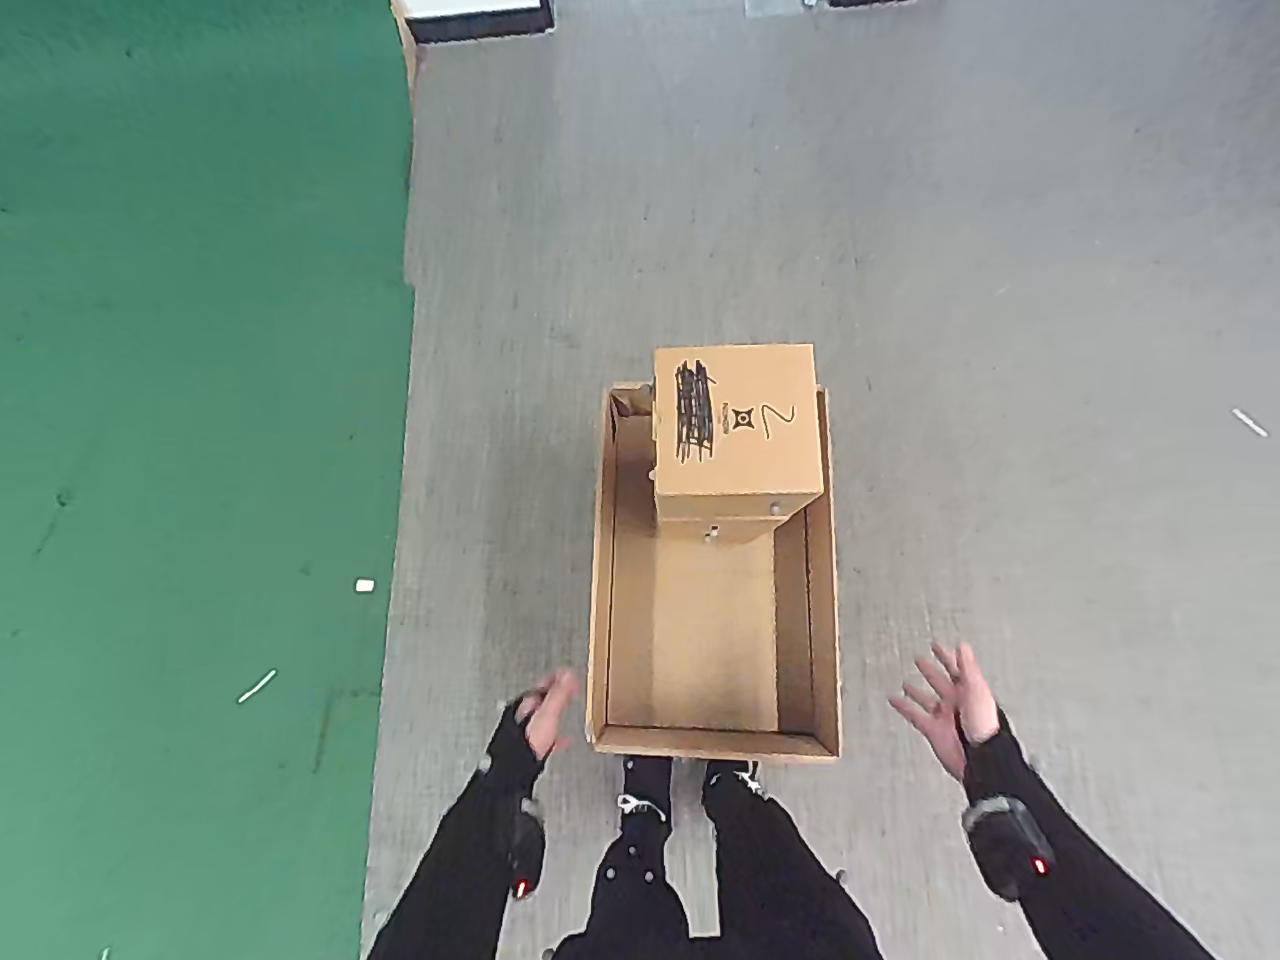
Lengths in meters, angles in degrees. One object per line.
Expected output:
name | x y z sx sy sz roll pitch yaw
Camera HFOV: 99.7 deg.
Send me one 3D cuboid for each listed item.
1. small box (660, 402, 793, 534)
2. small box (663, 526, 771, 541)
small box | 0.120 -0.012 0.805 0.179 0.176 0.168 -1 78 5
small box | 0.131 0.019 0.966 0.179 0.176 0.168 1 78 4
